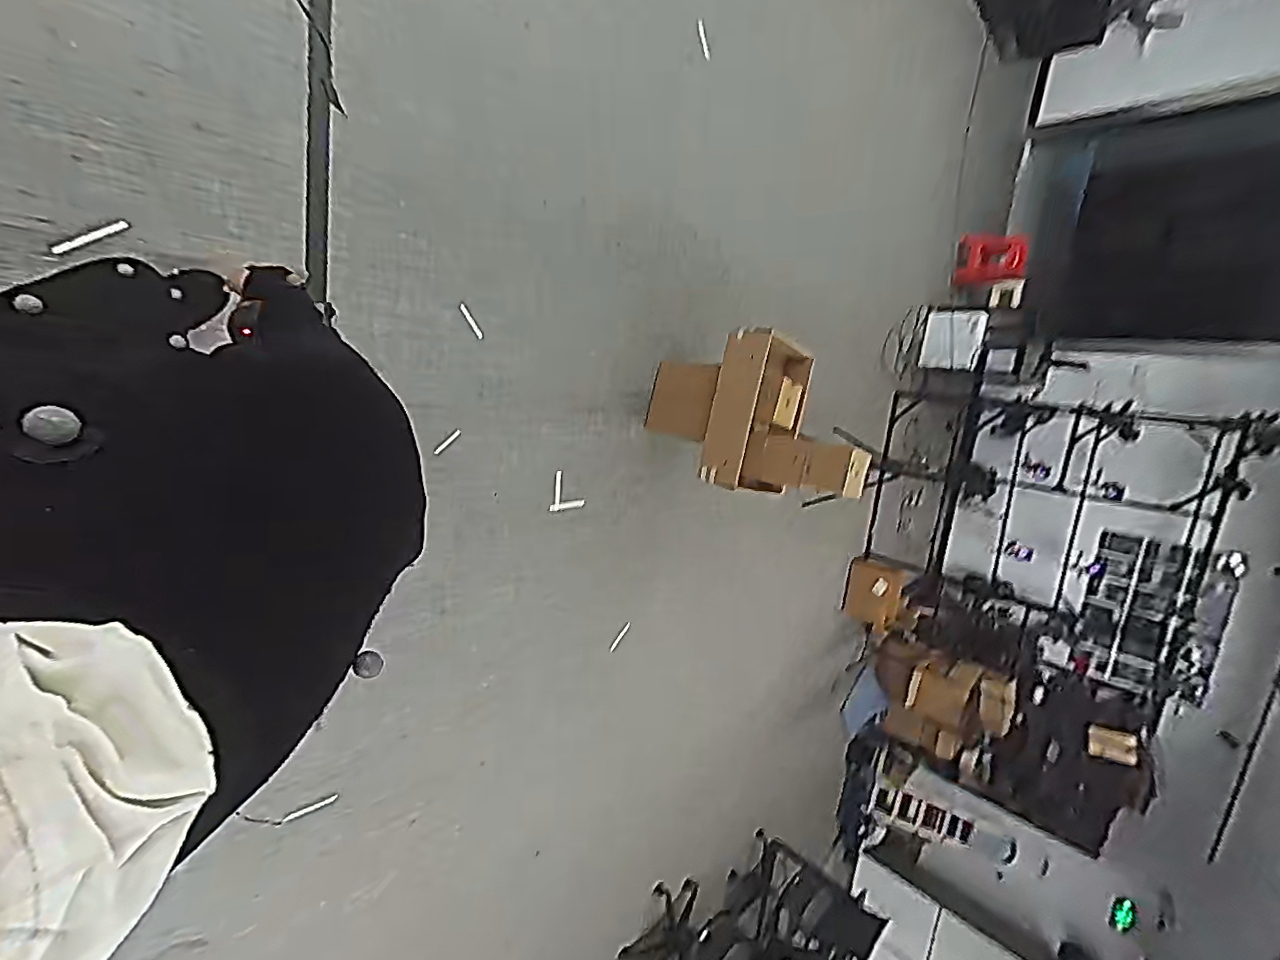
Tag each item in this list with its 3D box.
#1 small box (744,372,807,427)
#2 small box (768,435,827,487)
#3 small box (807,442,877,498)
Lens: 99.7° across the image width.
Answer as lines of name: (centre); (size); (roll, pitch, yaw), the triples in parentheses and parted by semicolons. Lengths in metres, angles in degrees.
small box: (0.540, -0.322, 2.164); (0.168, 0.176, 0.179); (11, 94, -48)
small box: (0.610, -0.072, 2.067); (0.168, 0.176, 0.179); (3, 98, -47)
small box: (0.730, -0.039, 1.960); (0.179, 0.176, 0.168); (12, 91, -49)
